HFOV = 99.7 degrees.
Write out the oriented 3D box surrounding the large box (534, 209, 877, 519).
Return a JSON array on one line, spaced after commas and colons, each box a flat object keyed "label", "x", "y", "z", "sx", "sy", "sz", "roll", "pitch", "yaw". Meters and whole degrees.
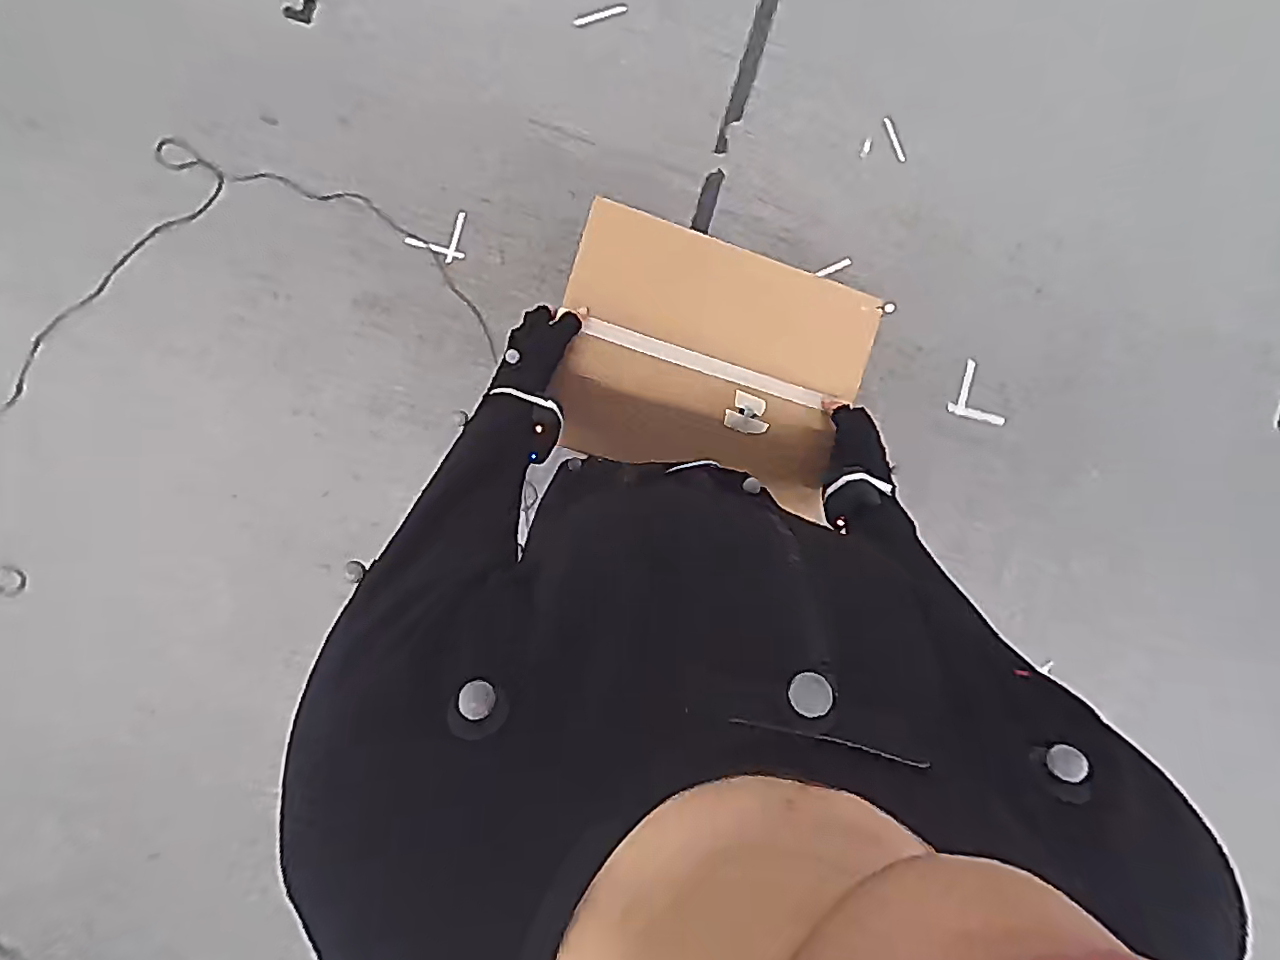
[{"label": "large box", "x": 0.075, "y": -0.155, "z": 0.862, "sx": 0.408, "sy": 0.320, "sz": 0.320, "roll": 18, "pitch": 92, "yaw": -7}]
